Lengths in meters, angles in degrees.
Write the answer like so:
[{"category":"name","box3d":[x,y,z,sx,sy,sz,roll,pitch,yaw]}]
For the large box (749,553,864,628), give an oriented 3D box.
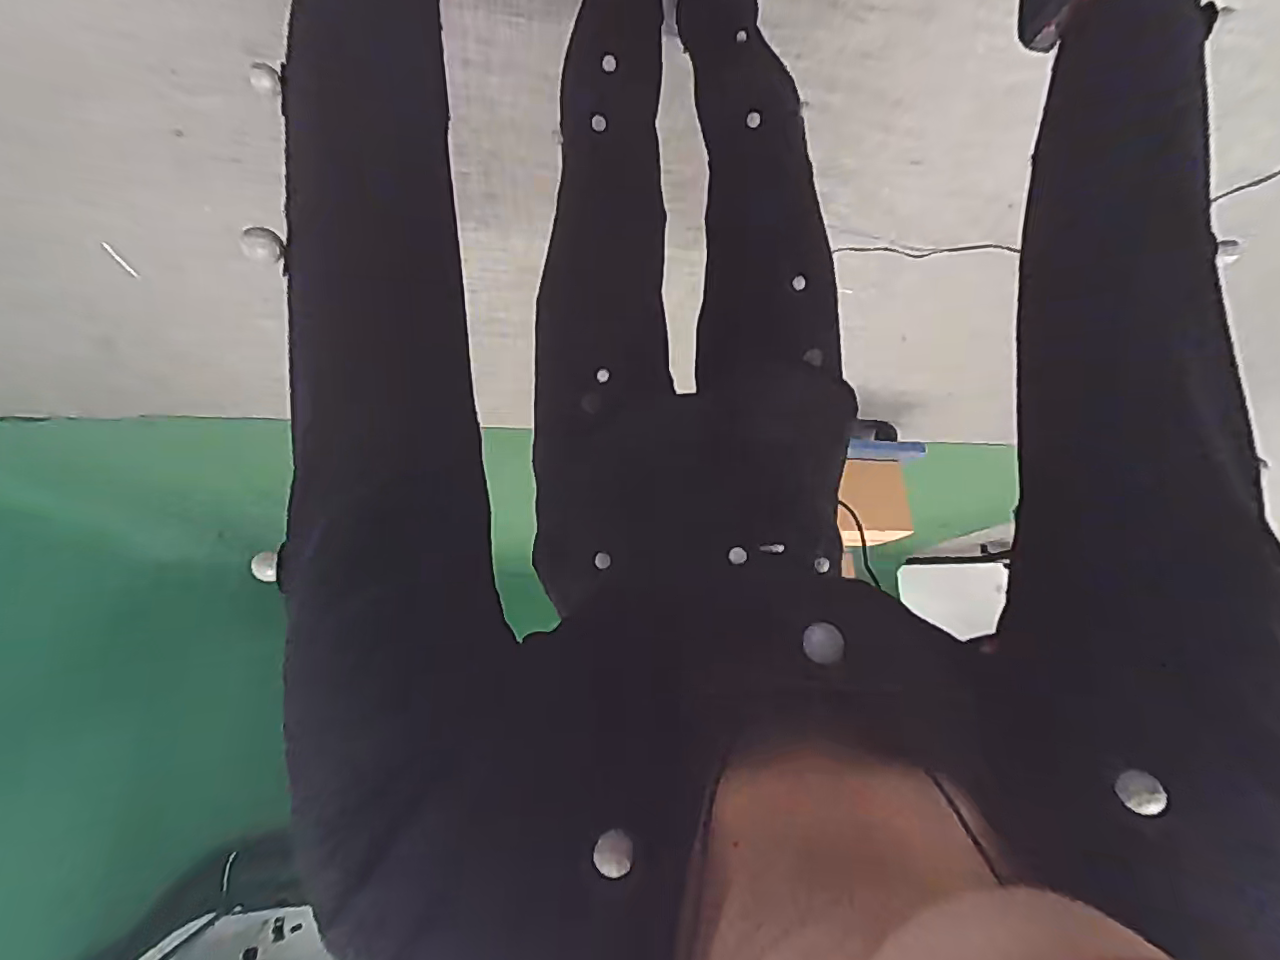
[{"category":"large box","box3d":[0.779,0.530,2.581,0.408,0.320,0.320,2,163,-17]}]
